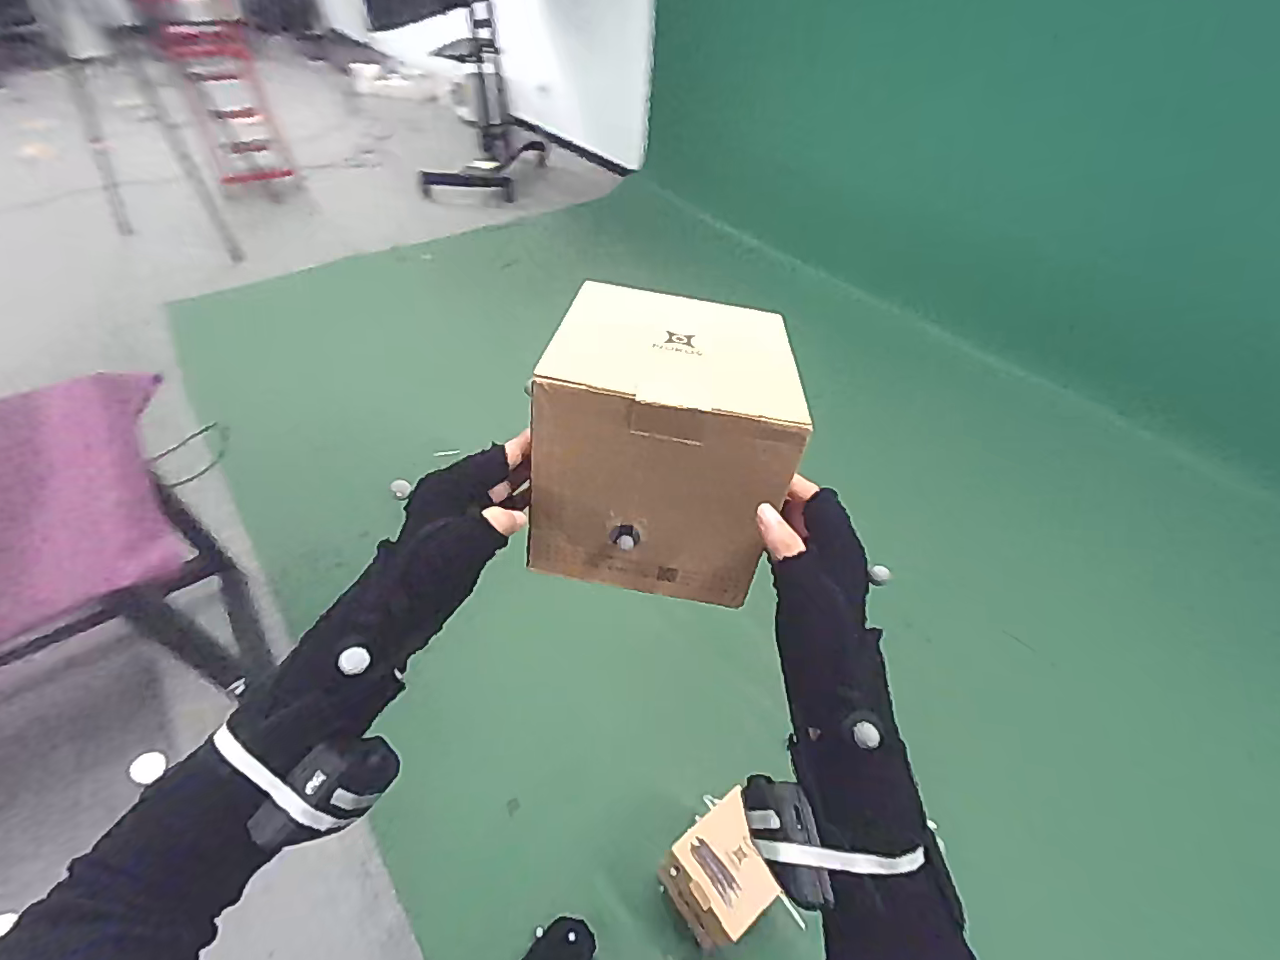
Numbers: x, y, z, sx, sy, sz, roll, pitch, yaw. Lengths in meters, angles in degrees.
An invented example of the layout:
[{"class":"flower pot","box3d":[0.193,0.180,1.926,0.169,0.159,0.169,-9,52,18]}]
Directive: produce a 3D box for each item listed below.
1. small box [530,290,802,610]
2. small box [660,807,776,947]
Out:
[{"class":"small box","box3d":[0.011,-0.027,0.430,0.168,0.176,0.179,9,39,-1]},{"class":"small box","box3d":[0.154,0.842,1.144,0.179,0.176,0.168,-27,55,-26]}]
